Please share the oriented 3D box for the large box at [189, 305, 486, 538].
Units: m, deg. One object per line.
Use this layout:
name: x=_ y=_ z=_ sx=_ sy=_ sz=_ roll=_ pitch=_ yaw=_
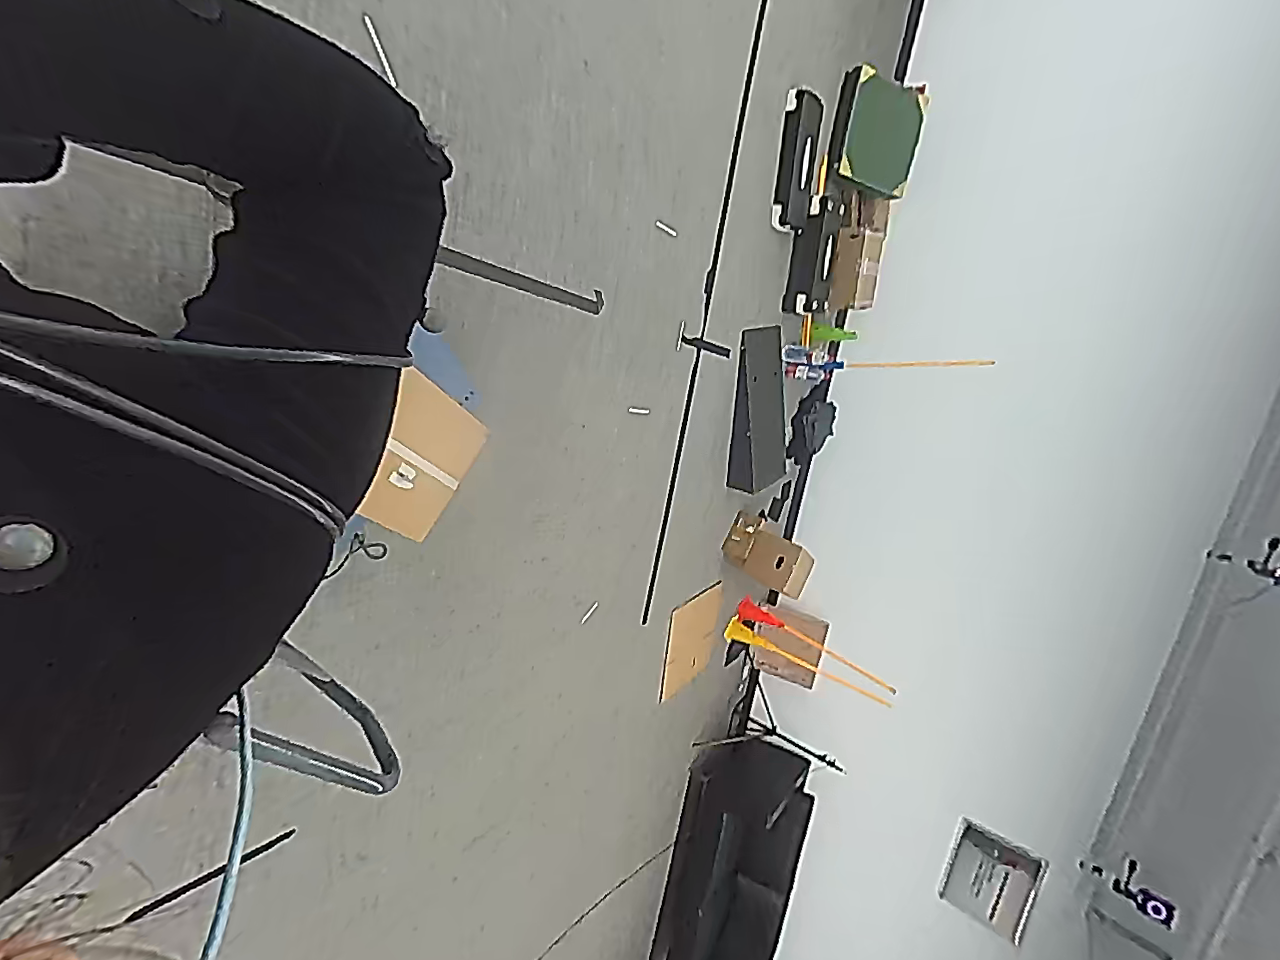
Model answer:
large box: x=-0.635 y=-0.122 z=1.182 sx=0.320 sy=0.320 sz=0.408 roll=-61 pitch=145 yaw=-14
